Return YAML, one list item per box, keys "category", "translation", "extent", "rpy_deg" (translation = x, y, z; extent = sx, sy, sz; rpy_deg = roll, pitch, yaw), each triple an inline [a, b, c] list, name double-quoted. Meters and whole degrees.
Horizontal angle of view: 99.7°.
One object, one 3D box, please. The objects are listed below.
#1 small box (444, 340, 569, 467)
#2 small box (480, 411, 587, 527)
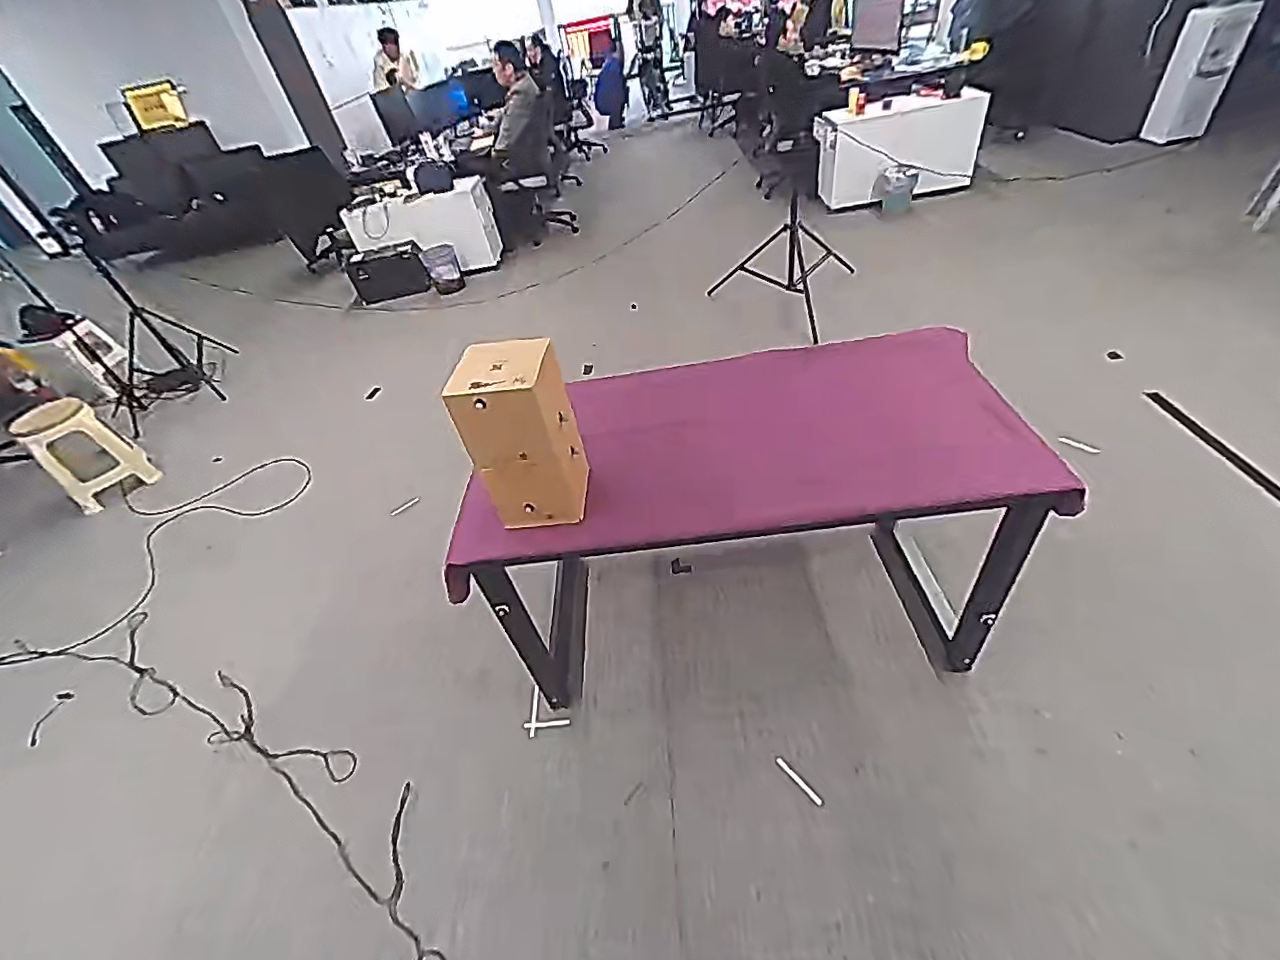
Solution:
- category: "small box"
  translation: [-0.239, -0.143, 1.023]
  extent: [0.168, 0.176, 0.179]
  rpy_deg: [-4, 41, 8]
- category: "small box"
  translation: [-0.211, -0.023, 1.131]
  extent: [0.168, 0.176, 0.179]
  rpy_deg: [-5, 42, 6]
